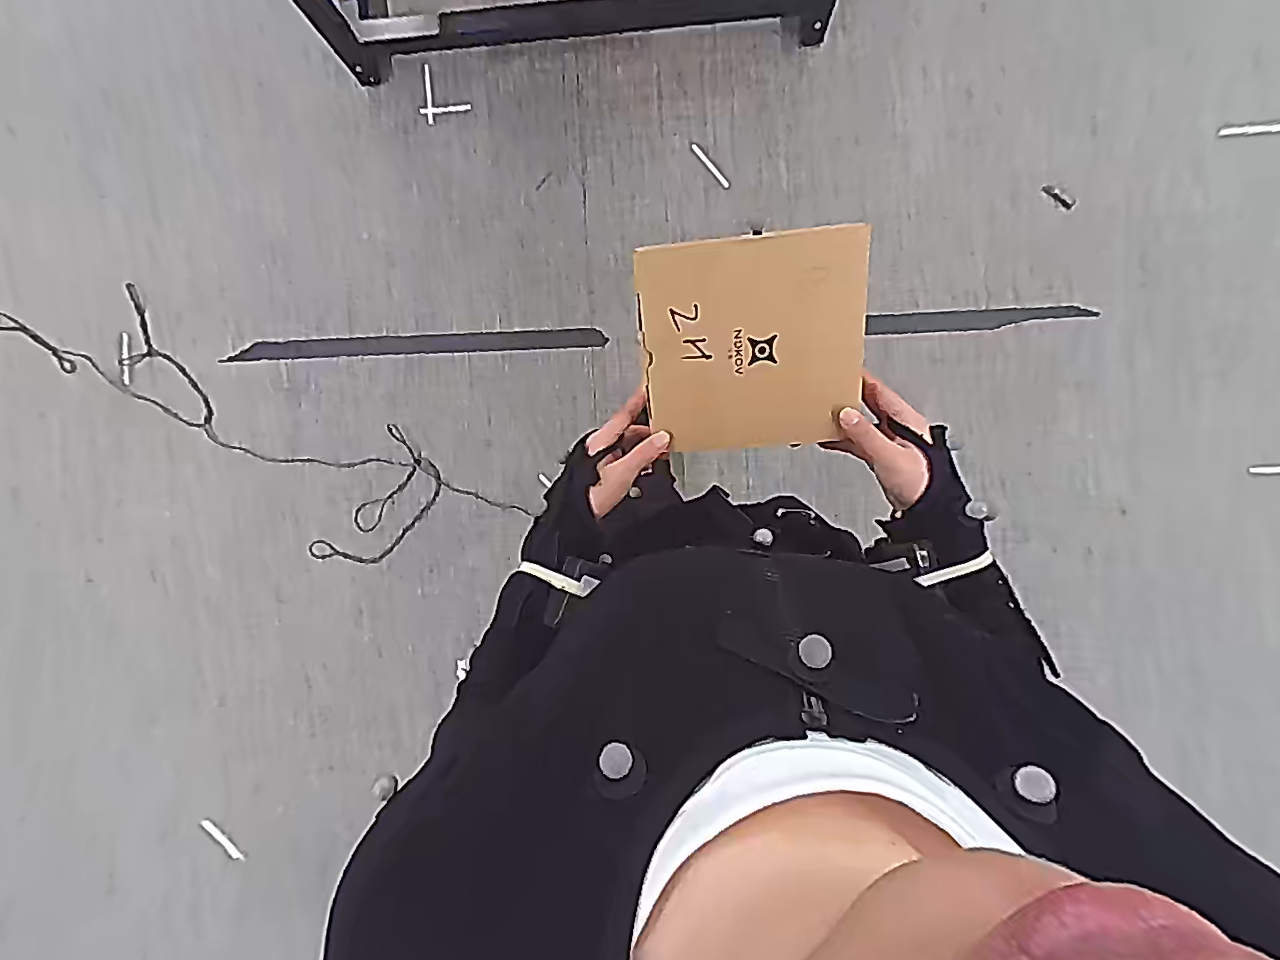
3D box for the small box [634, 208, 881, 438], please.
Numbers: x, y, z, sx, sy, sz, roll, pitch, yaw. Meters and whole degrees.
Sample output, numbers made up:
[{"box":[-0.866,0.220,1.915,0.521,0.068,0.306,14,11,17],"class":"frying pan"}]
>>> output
[{"box":[0.091,-0.147,0.487,0.179,0.176,0.168,-1,118,6],"class":"small box"}]
